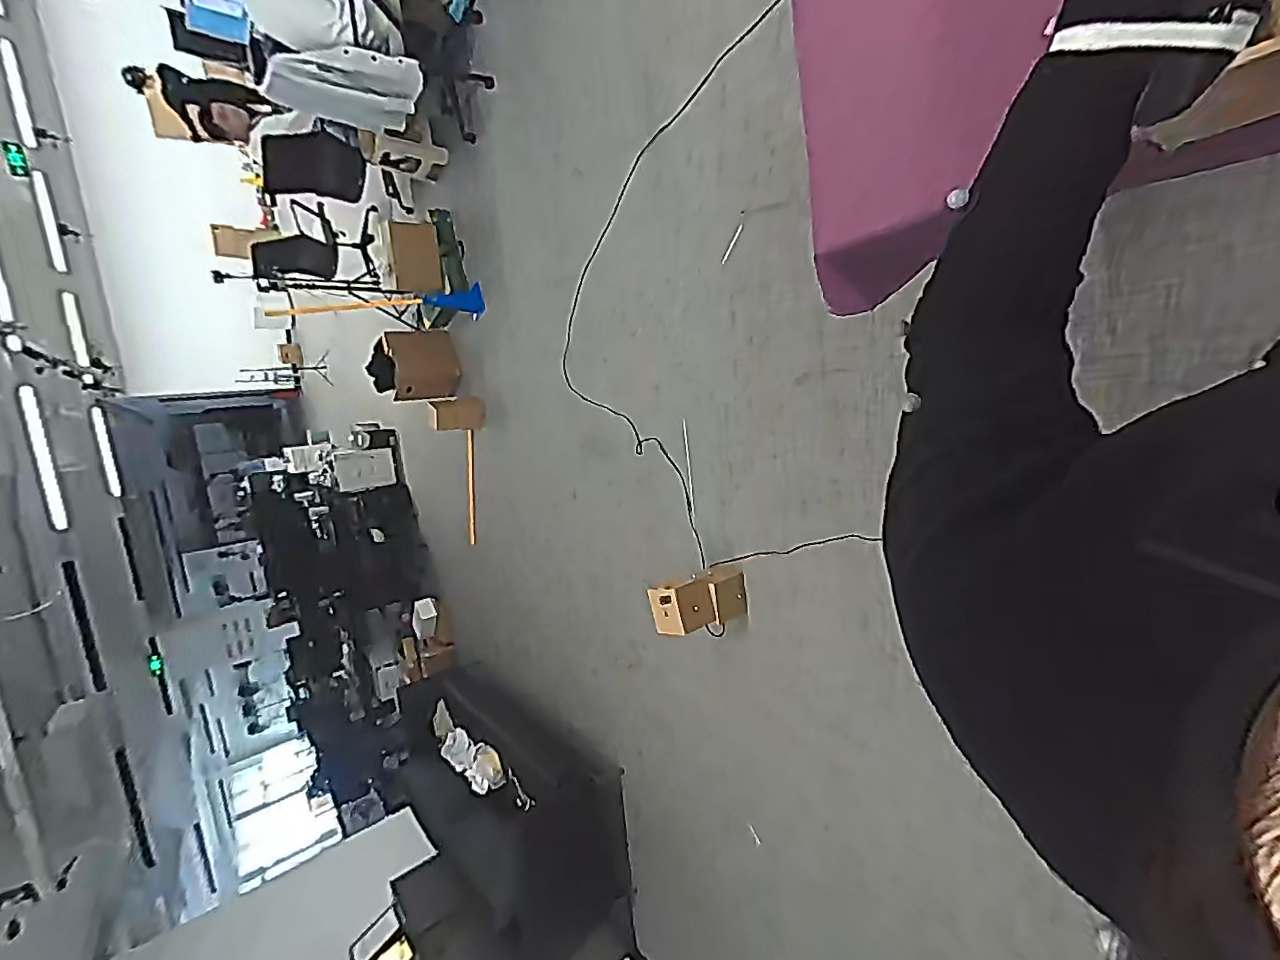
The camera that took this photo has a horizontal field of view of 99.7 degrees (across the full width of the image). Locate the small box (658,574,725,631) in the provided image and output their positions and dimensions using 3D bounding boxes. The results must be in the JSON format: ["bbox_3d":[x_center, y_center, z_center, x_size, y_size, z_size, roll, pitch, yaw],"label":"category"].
[{"bbox_3d":[0.200,0.462,2.078,0.168,0.176,0.179,-16,88,54],"label":"small box"}]
